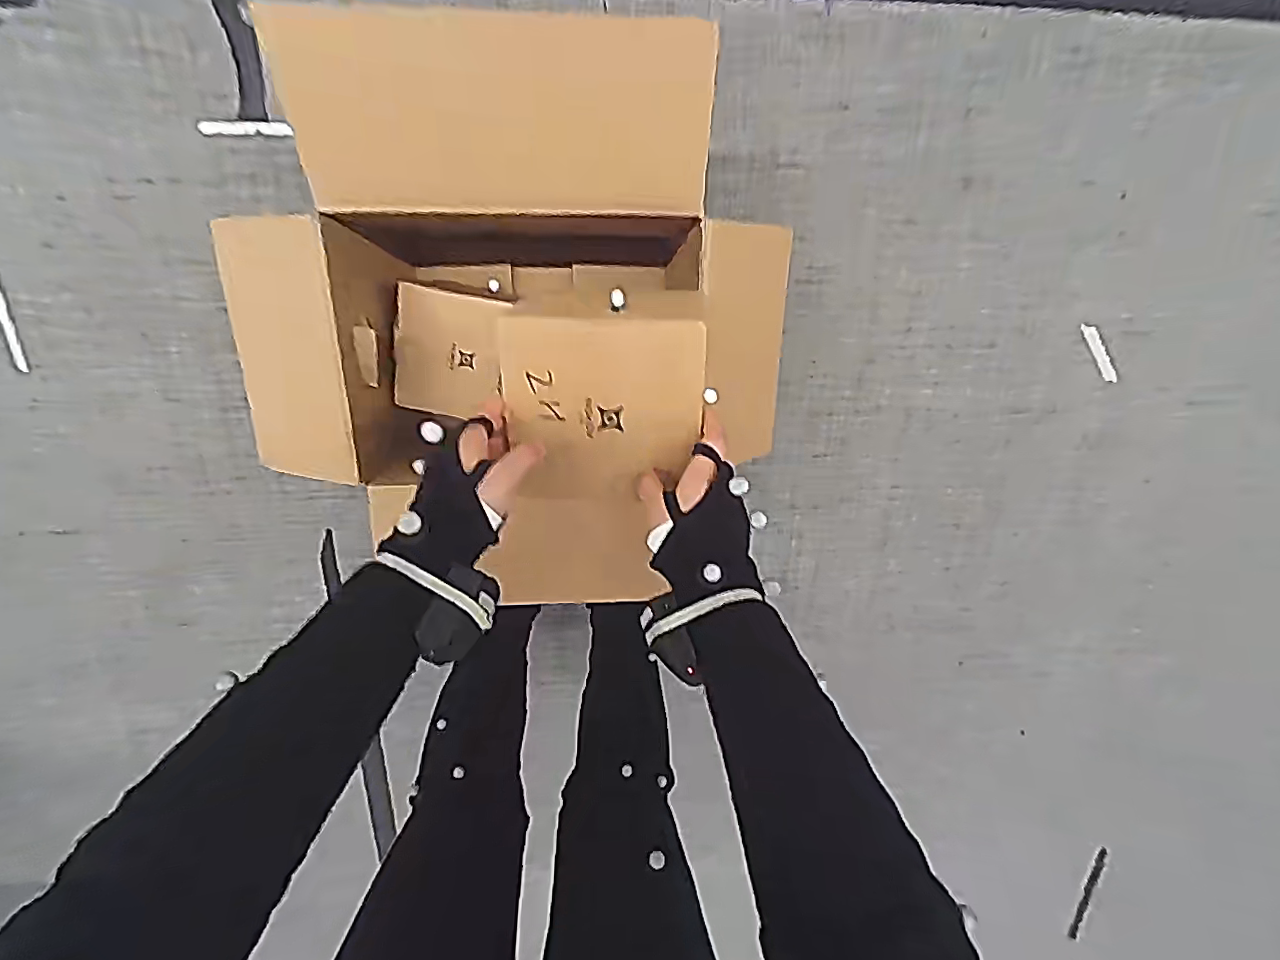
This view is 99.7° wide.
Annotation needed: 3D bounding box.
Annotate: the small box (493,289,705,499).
[{"bbox_3d":[-0.029,-0.095,0.541,0.179,0.176,0.168,3,117,5],"label":"small box"}]
